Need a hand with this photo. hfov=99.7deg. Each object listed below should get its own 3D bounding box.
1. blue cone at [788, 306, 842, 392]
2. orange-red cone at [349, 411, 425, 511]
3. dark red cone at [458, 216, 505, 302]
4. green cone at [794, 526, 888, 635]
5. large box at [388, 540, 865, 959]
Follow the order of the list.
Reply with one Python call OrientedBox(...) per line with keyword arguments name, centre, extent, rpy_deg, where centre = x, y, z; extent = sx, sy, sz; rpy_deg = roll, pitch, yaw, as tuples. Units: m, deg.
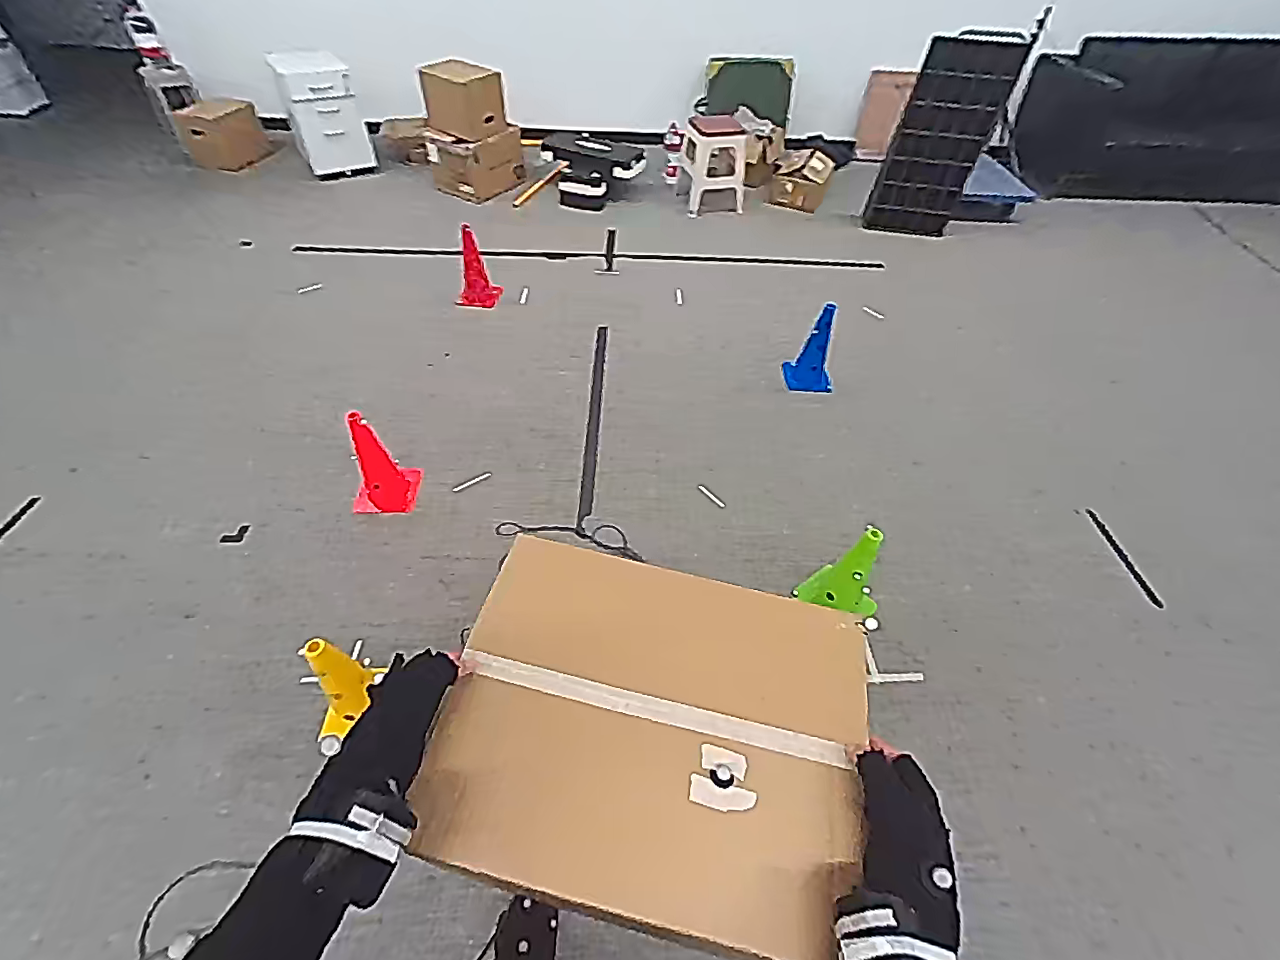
OrientedBox(name="blue cone", centre=(0.773, -0.567, 2.302), extent=(0.192, 0.380, 0.193), rpy_deg=(5, 49, 0))
OrientedBox(name="orange-red cone", centre=(-0.866, -0.081, 1.771), extent=(0.198, 0.360, 0.199), rpy_deg=(-1, 50, -2))
OrientedBox(name="dark red cone", centre=(-0.790, -1.068, 2.614), extent=(0.201, 0.394, 0.202), rpy_deg=(7, 49, 2))
OrientedBox(name="green cone", centre=(0.617, 0.258, 1.543), extent=(0.202, 0.368, 0.200), rpy_deg=(-28, 56, -26))
OrientedBox(name="large box", centre=(-0.002, 0.317, 0.641), extent=(0.408, 0.320, 0.320), rpy_deg=(13, 50, 4))
